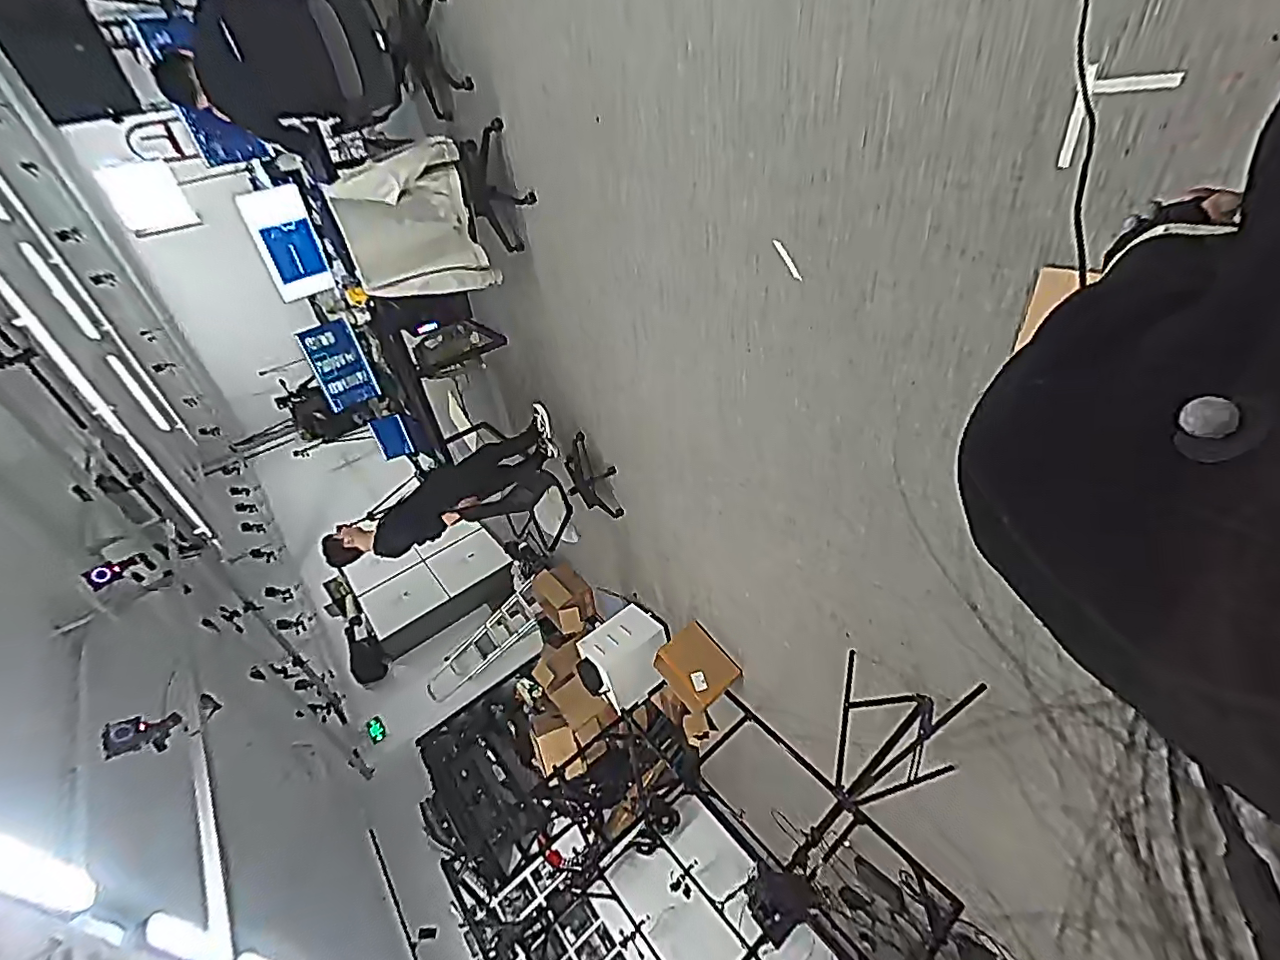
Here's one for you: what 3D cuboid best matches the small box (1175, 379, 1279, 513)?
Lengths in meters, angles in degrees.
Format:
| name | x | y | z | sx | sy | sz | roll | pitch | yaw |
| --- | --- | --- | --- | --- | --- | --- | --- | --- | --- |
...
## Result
| name | x | y | z | sx | sy | sz | roll | pitch | yaw |
| --- | --- | --- | --- | --- | --- | --- | --- | --- | --- |
| small box | 1.187 | -0.072 | 1.031 | 0.168 | 0.176 | 0.179 | 32 | 143 | 43 |
